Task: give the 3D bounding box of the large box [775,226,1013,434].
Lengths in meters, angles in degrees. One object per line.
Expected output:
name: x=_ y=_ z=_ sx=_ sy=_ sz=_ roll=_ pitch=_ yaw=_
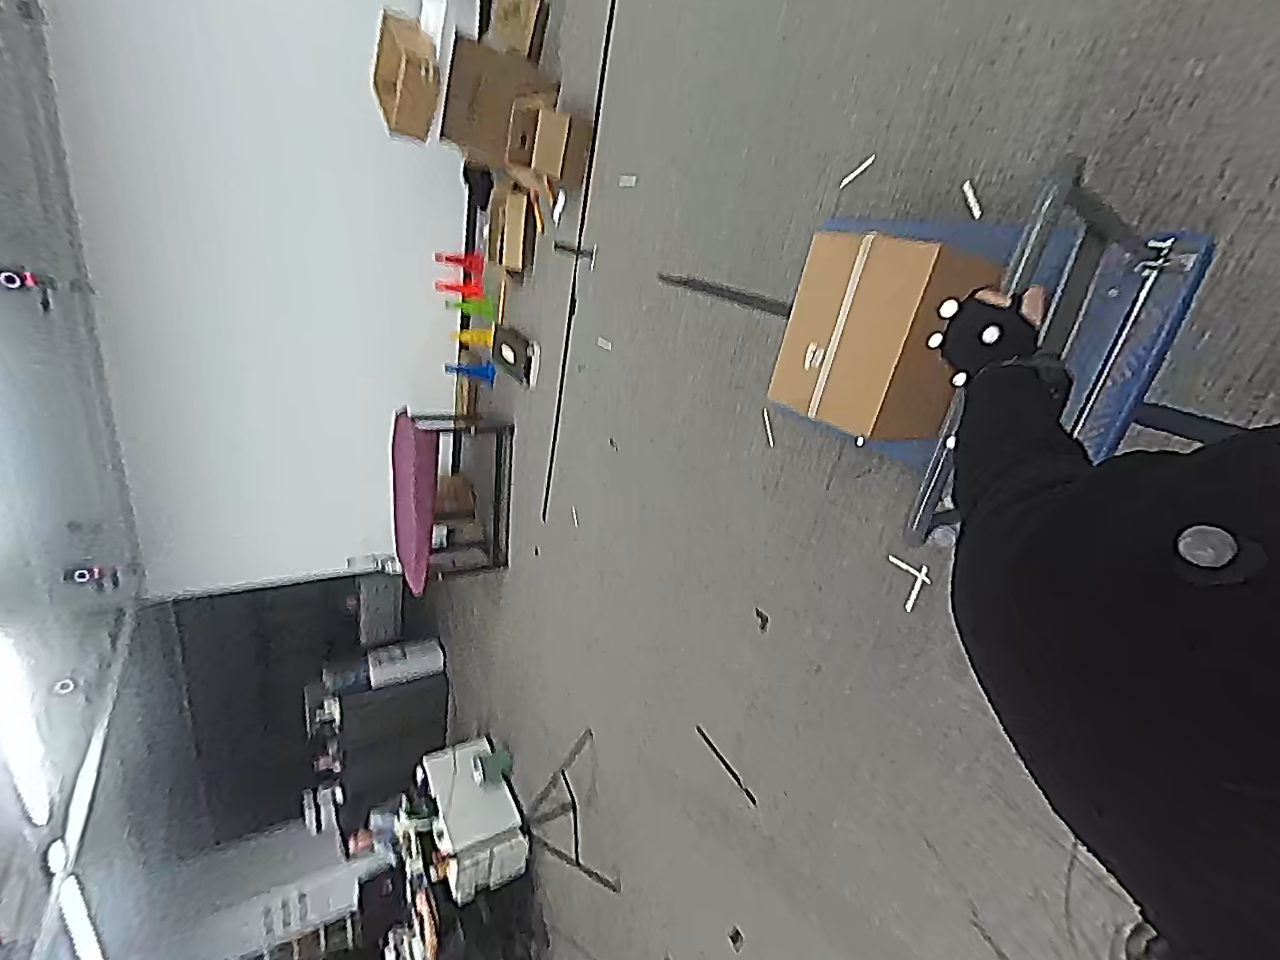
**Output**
large box: x=0.579 y=-0.352 z=1.272 sx=0.320 sy=0.320 sz=0.408 roll=39 pitch=126 yaw=48
